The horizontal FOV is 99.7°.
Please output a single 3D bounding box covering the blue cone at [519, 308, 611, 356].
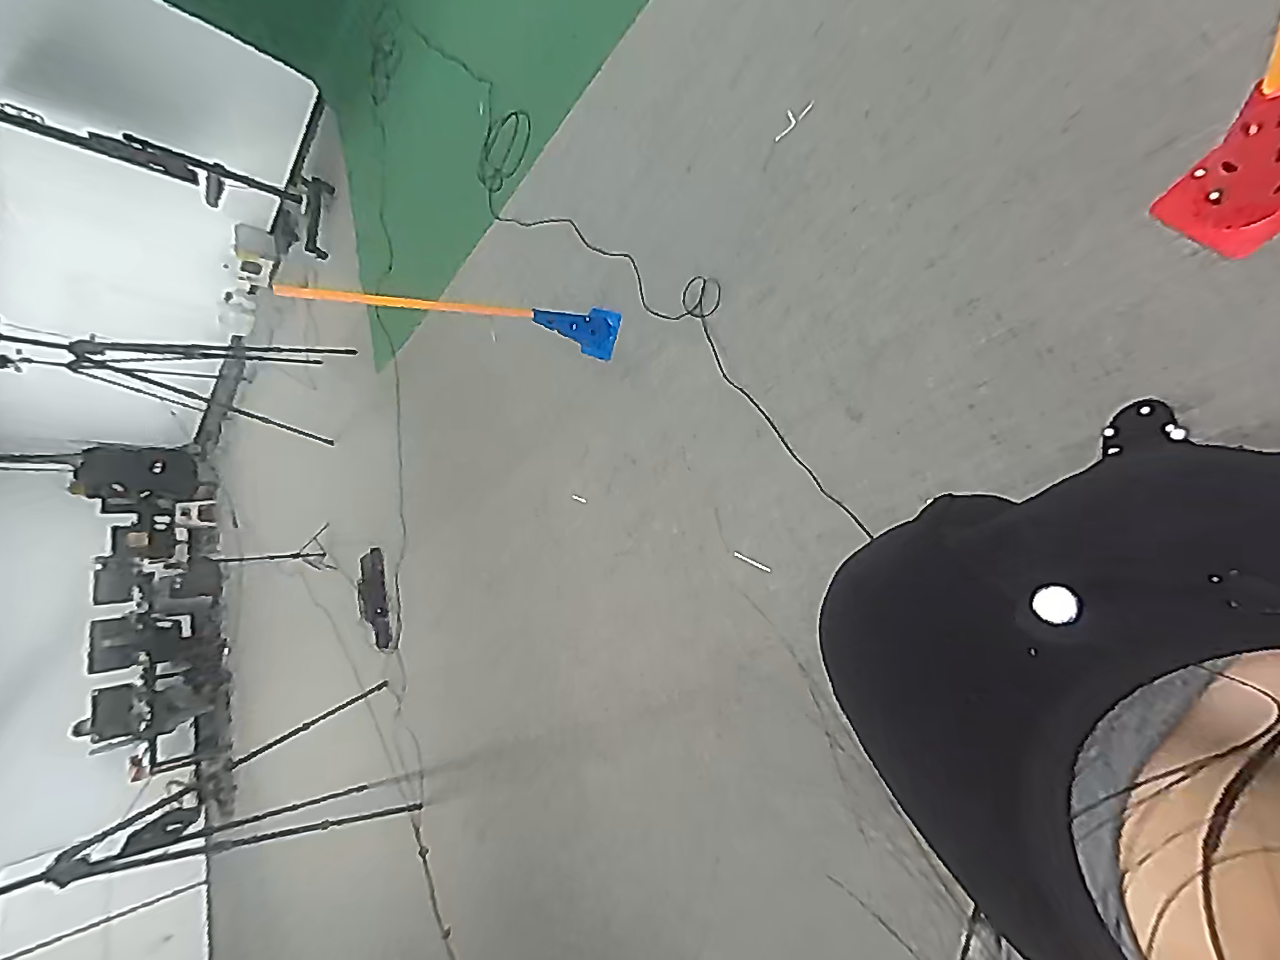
[{"bbox_3d":[-0.308,-0.618,2.139,0.192,0.380,0.193,25,107,39],"label":"blue cone"}]
